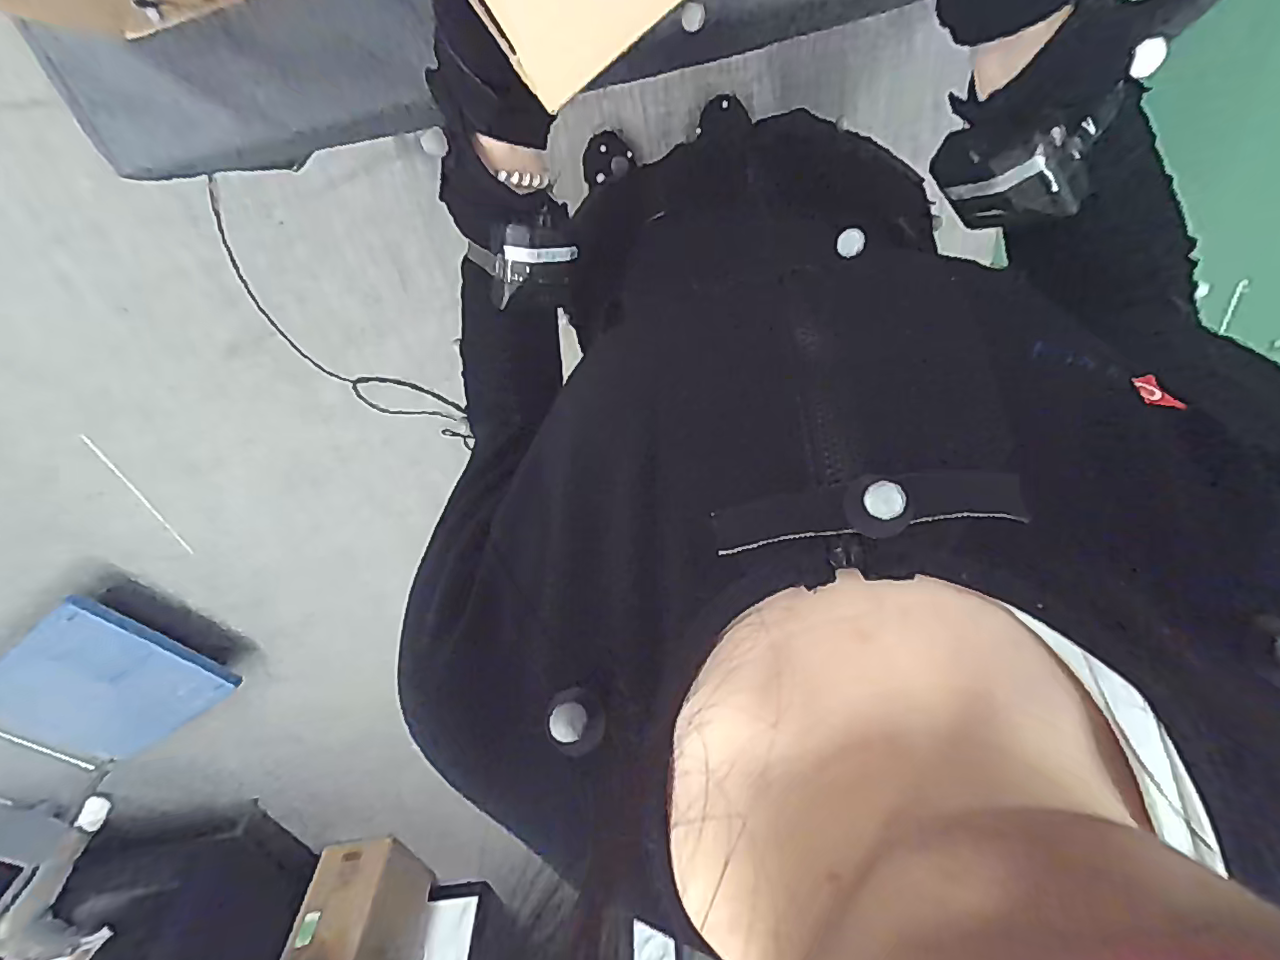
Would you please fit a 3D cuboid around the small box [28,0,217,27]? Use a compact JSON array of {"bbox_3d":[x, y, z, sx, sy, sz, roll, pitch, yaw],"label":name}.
[{"bbox_3d":[-0.419,-0.460,0.380,0.168,0.176,0.179,-13,124,6],"label":"small box"}]
